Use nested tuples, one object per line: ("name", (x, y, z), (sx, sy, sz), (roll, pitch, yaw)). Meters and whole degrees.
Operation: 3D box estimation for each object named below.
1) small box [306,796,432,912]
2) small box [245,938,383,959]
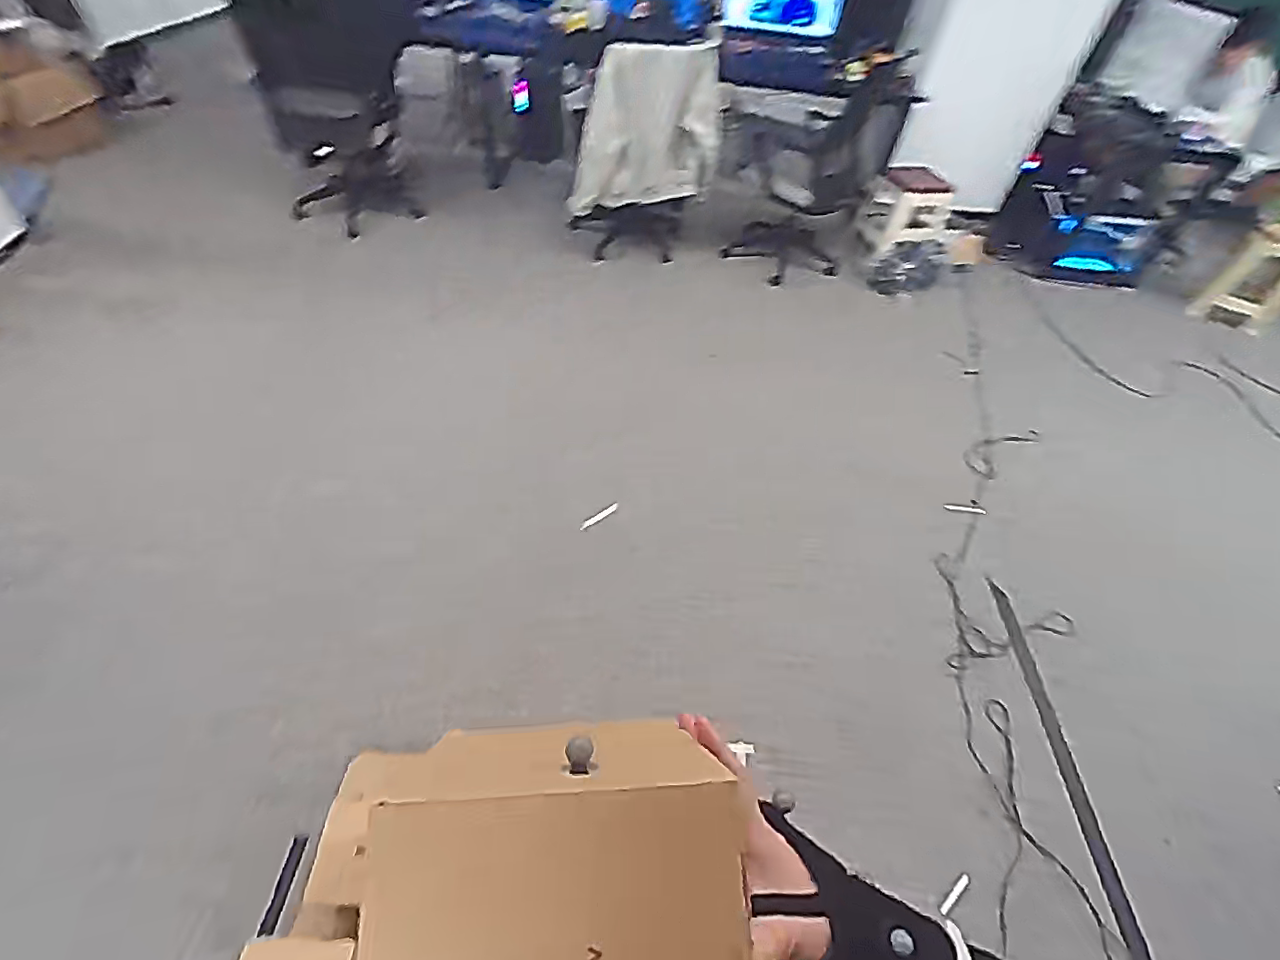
("small box", (-0.535, 0.761, 1.099), (0.168, 0.176, 0.179), (0, 50, -5))
("small box", (-0.516, 0.820, 0.828), (0.168, 0.176, 0.179), (3, 49, -2))
